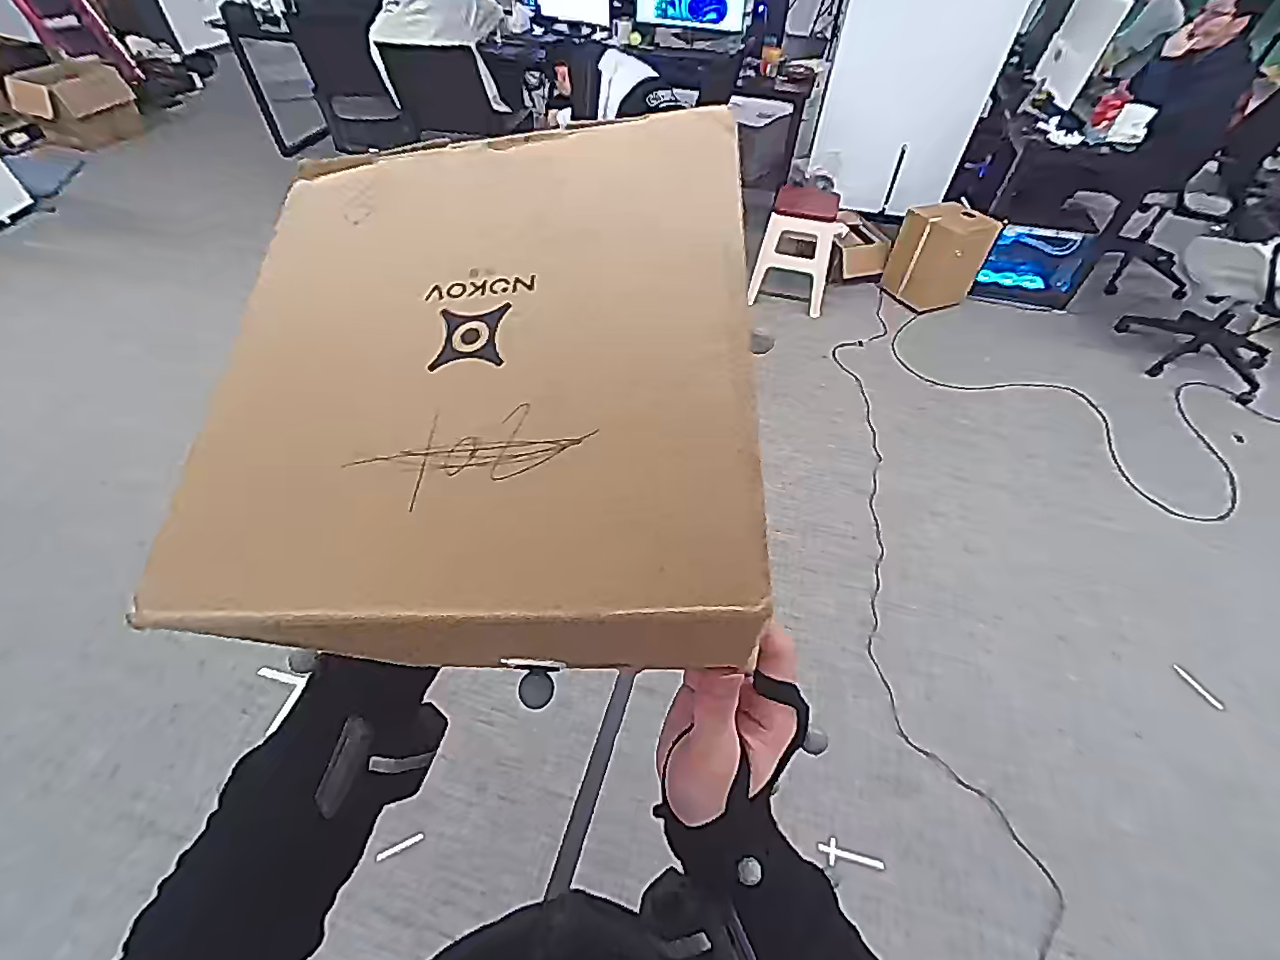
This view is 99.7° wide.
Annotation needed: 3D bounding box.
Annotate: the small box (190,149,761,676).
[{"bbox_3d":[-0.037,-0.008,0.250,0.168,0.176,0.179,-4,67,9],"label":"small box"}]
